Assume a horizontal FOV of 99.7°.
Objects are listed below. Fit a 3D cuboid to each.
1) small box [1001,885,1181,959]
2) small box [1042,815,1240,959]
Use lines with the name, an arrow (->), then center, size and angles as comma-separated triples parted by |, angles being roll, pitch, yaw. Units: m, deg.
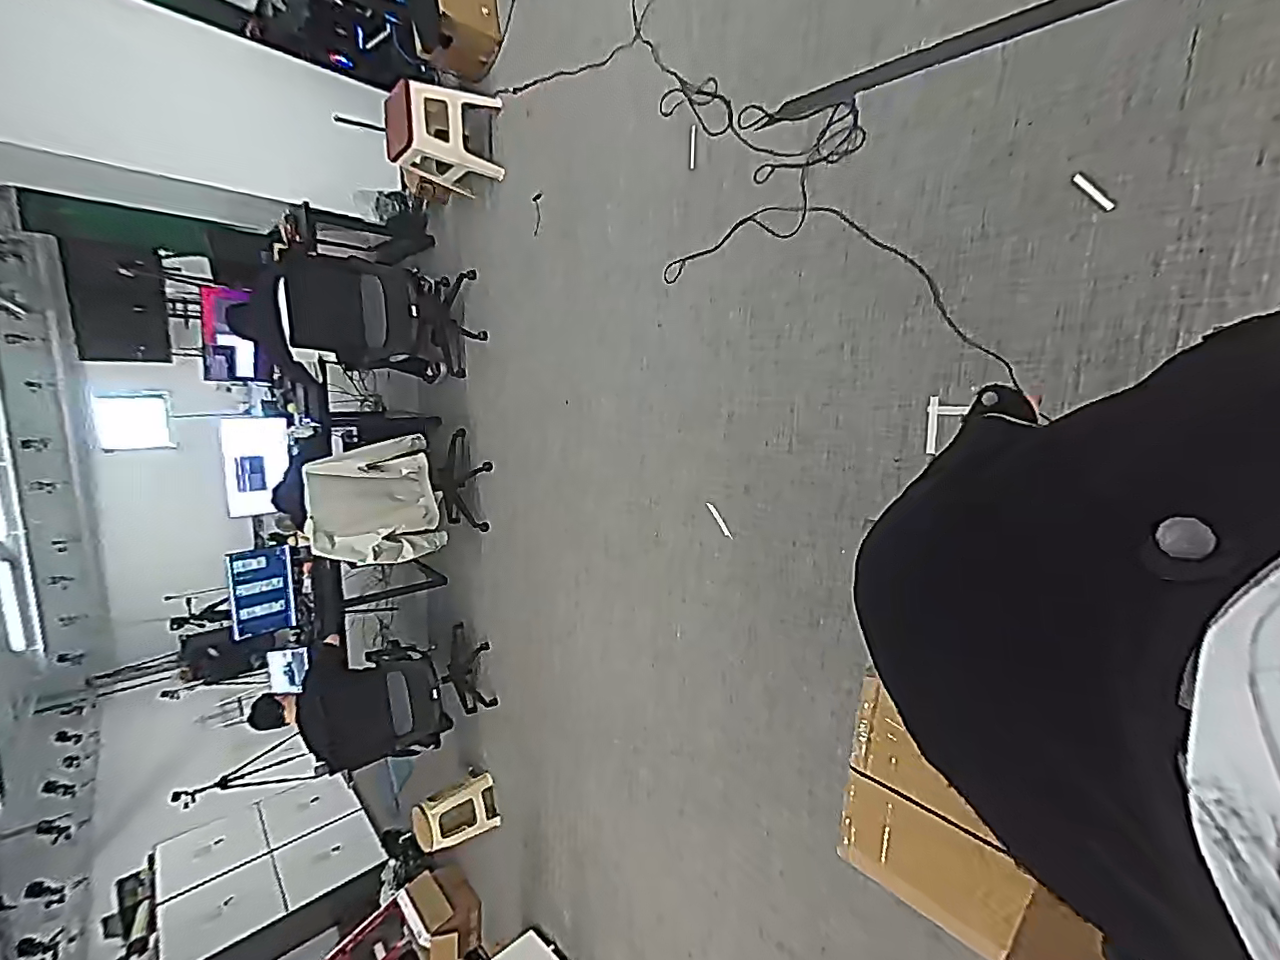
small box -> 0.476, 0.578, 0.555 | 0.179, 0.176, 0.168 | 13, 104, 47
small box -> 0.599, 0.568, 0.664 | 0.168, 0.176, 0.179 | 14, 103, 46
